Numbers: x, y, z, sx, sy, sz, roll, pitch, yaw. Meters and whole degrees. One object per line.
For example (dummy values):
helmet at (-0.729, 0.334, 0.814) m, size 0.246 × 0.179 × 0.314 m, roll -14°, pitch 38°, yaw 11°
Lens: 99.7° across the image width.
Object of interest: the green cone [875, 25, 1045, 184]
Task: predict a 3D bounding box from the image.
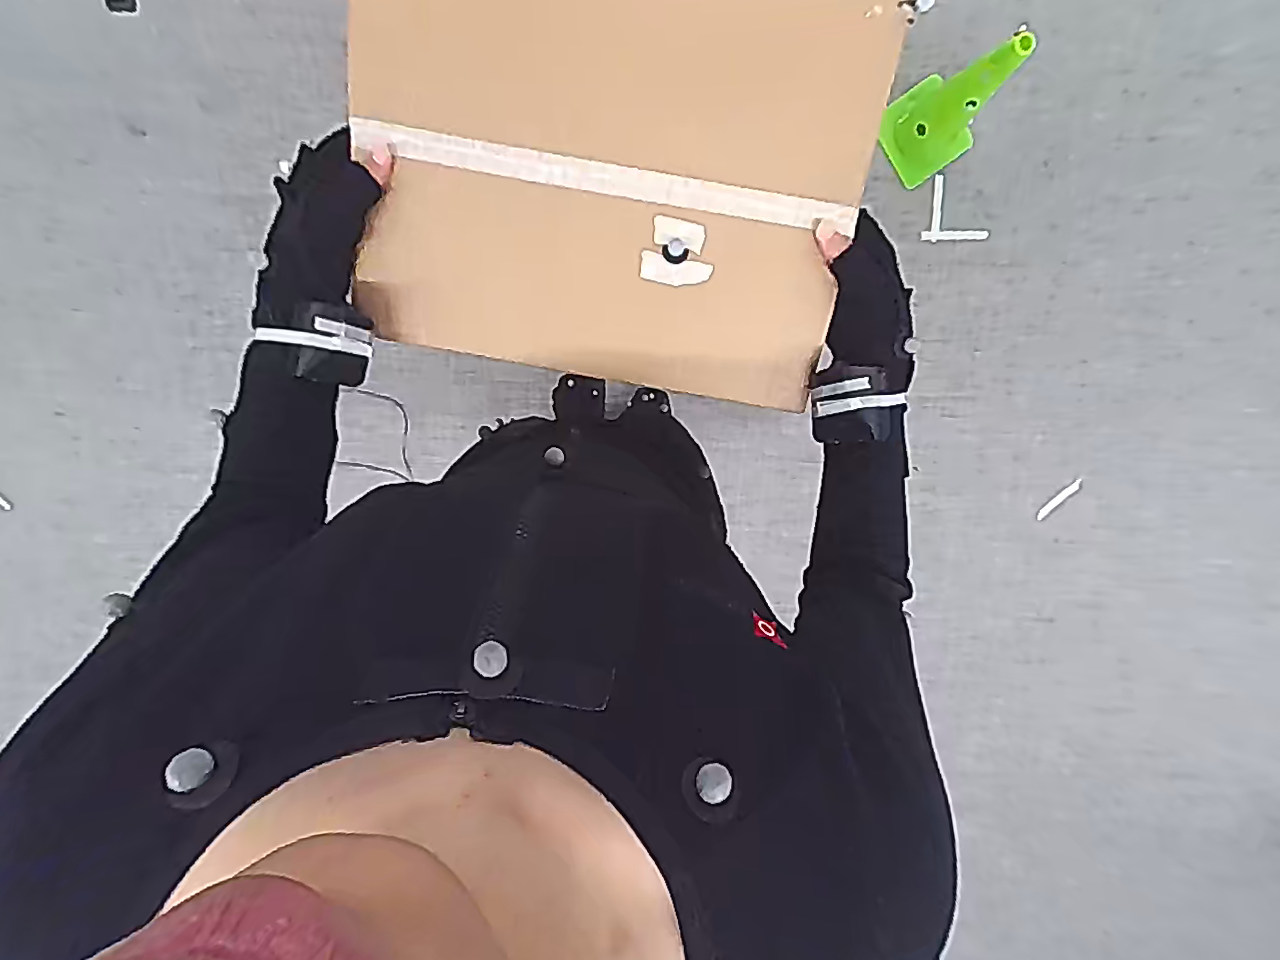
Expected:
green cone at (0.716, -0.842, 1.172) m, size 0.202 × 0.368 × 0.200 m, roll -36°, pitch 100°, yaw 3°

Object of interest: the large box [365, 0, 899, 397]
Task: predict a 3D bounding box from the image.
large box at (-0.023, -0.291, 0.581) m, size 0.408 × 0.320 × 0.320 m, roll 9°, pitch 109°, yaw -2°
